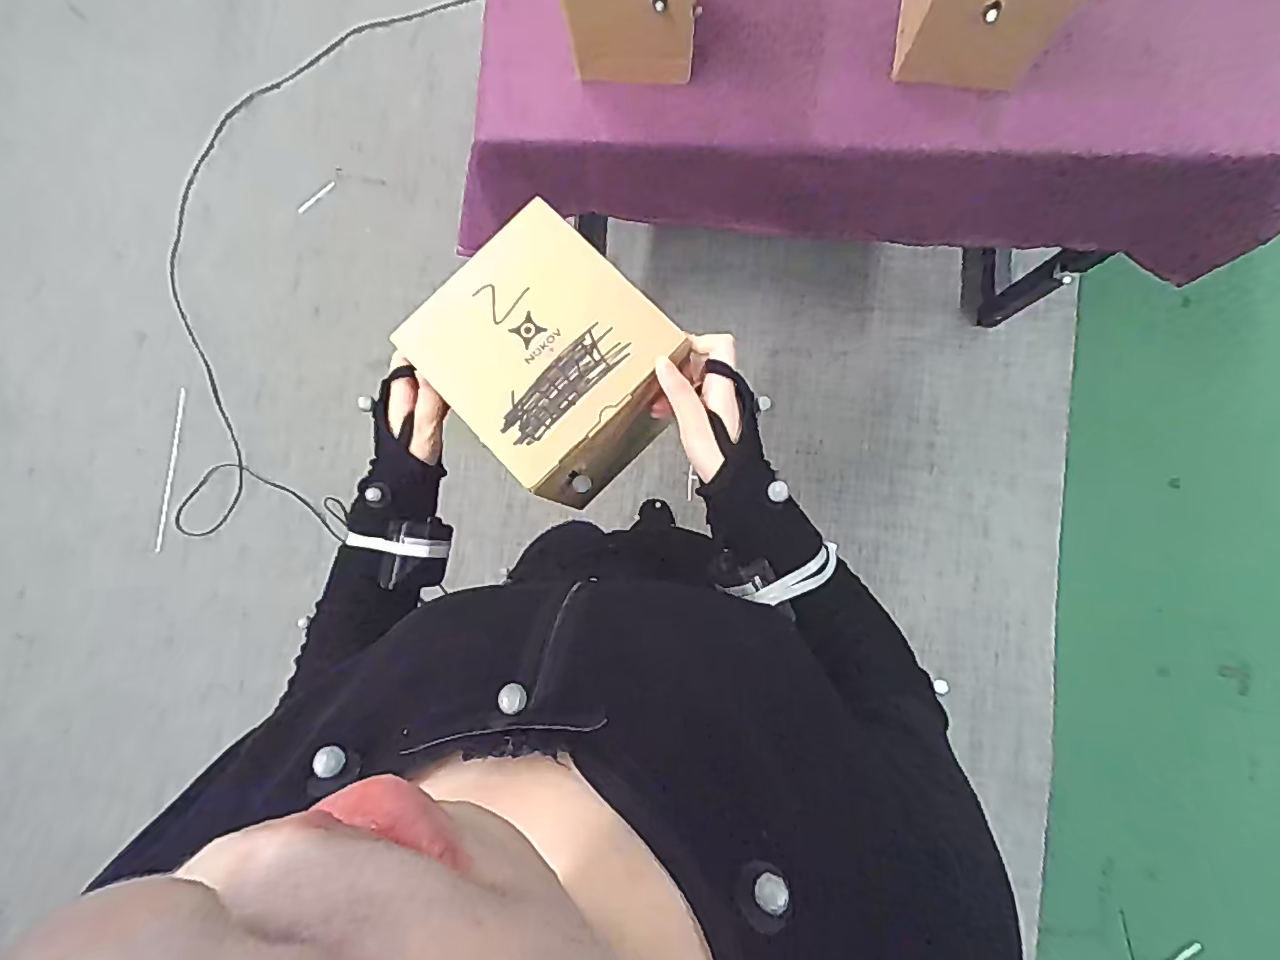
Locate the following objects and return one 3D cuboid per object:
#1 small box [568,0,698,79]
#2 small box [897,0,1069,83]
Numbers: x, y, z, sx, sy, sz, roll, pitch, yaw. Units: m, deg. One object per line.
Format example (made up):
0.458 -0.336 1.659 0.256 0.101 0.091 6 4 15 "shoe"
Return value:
-0.008 -0.706 0.760 0.179 0.176 0.168 5 86 3 "small box"
0.468 -0.675 0.723 0.179 0.176 0.168 9 87 5 "small box"
